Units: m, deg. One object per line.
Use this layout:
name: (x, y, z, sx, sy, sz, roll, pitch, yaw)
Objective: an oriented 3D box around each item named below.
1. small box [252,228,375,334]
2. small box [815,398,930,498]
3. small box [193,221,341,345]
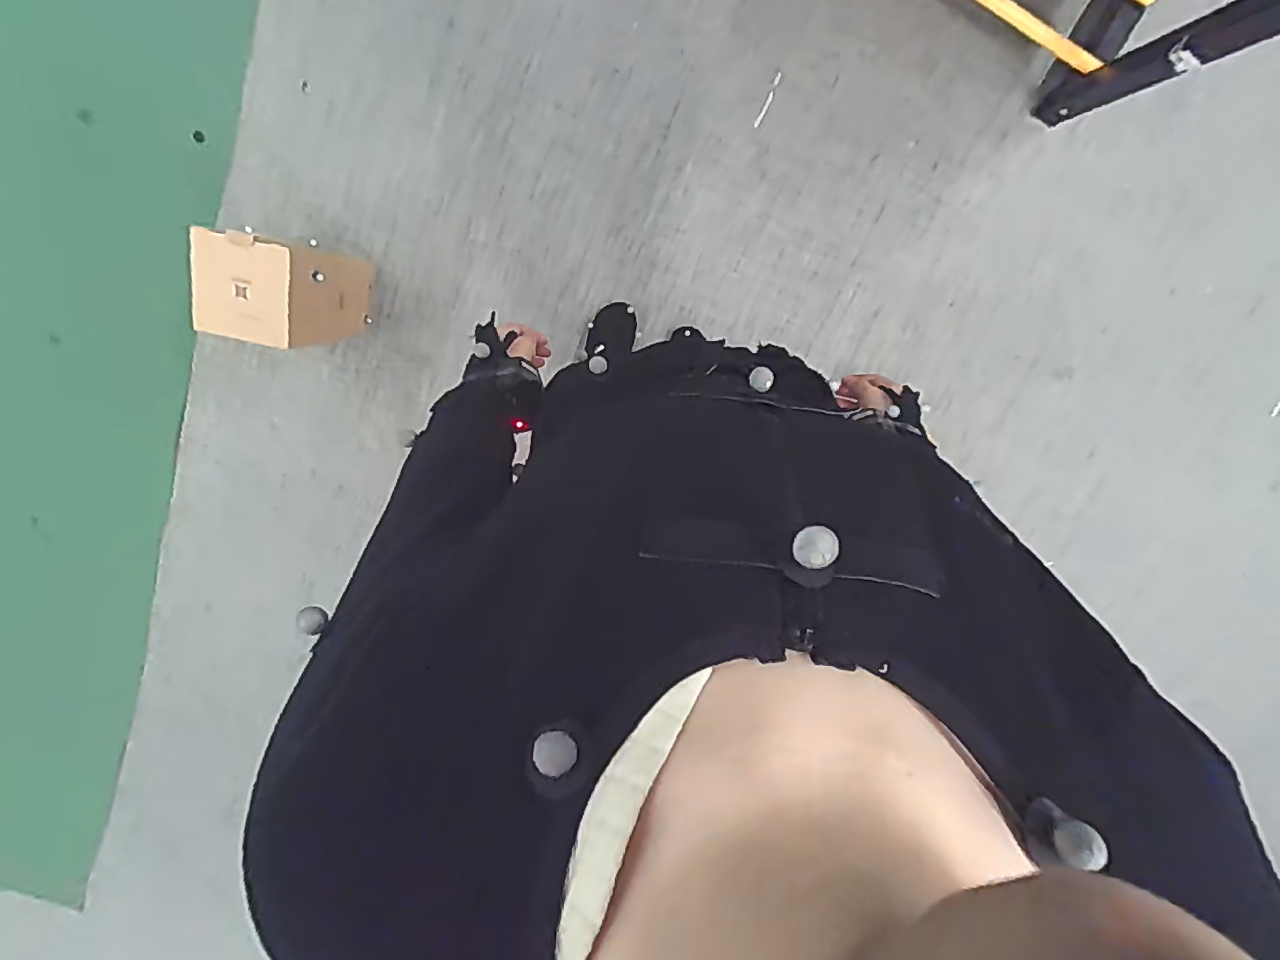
small box: (-0.691, -0.421, 1.154, 0.179, 0.176, 0.168, 14, 108, -5)
small box: (0.549, -0.085, 1.307, 0.168, 0.176, 0.179, 18, 107, -8)
small box: (-0.680, -0.361, 1.003, 0.168, 0.176, 0.179, 11, 109, -4)
